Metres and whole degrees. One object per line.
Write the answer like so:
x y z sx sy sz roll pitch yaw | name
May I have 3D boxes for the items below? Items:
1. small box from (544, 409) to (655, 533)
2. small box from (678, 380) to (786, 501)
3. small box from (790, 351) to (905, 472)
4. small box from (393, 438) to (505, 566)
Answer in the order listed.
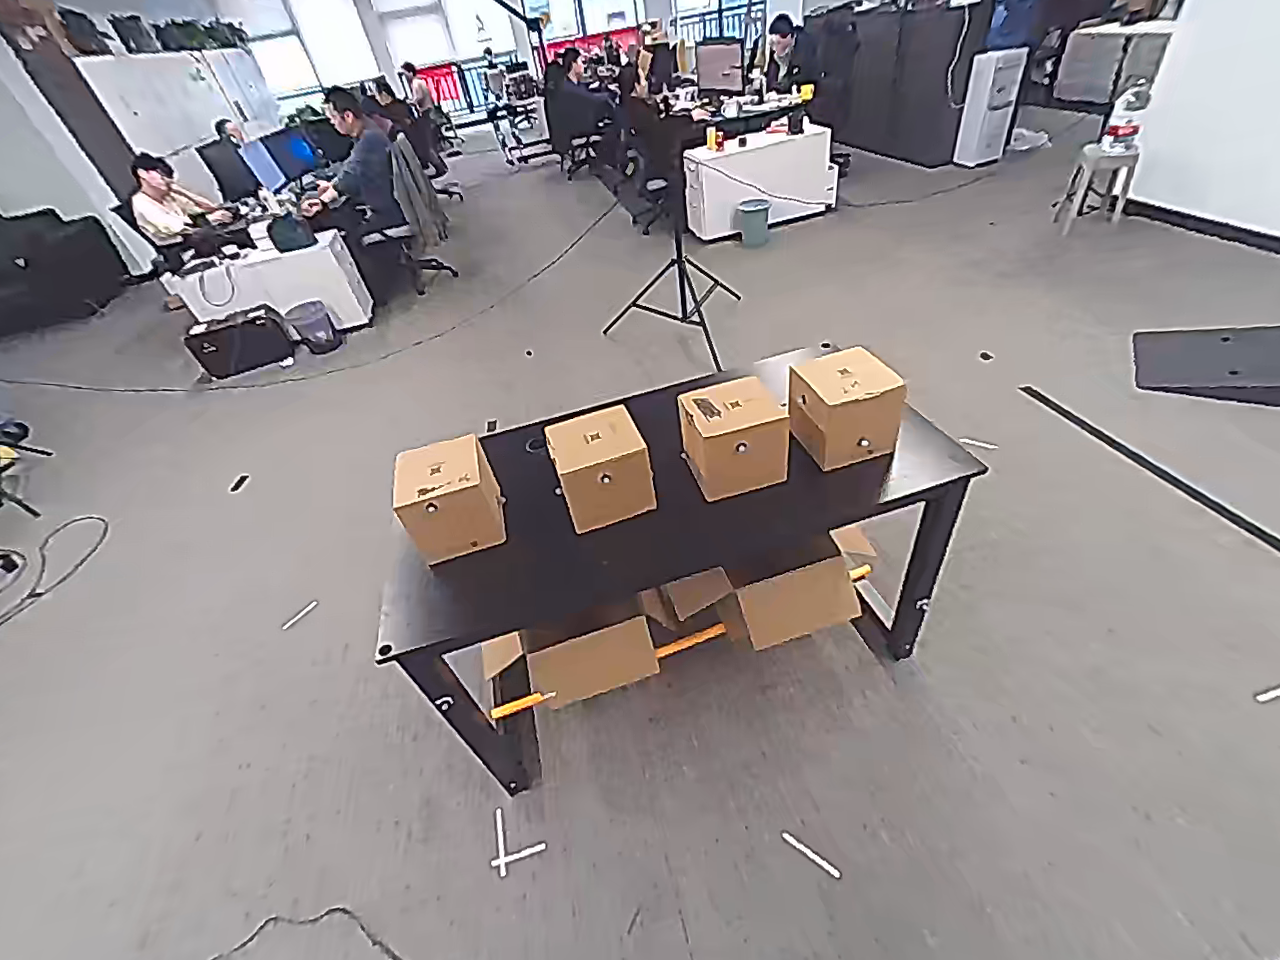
-0.082 -0.016 1.118 0.179 0.176 0.168 -17 42 -9 | small box
0.191 -0.079 1.124 0.179 0.176 0.168 -15 40 -4 | small box
0.426 -0.145 1.146 0.168 0.176 0.179 -16 41 -4 | small box
-0.387 0.045 1.113 0.168 0.176 0.179 -17 41 -7 | small box
